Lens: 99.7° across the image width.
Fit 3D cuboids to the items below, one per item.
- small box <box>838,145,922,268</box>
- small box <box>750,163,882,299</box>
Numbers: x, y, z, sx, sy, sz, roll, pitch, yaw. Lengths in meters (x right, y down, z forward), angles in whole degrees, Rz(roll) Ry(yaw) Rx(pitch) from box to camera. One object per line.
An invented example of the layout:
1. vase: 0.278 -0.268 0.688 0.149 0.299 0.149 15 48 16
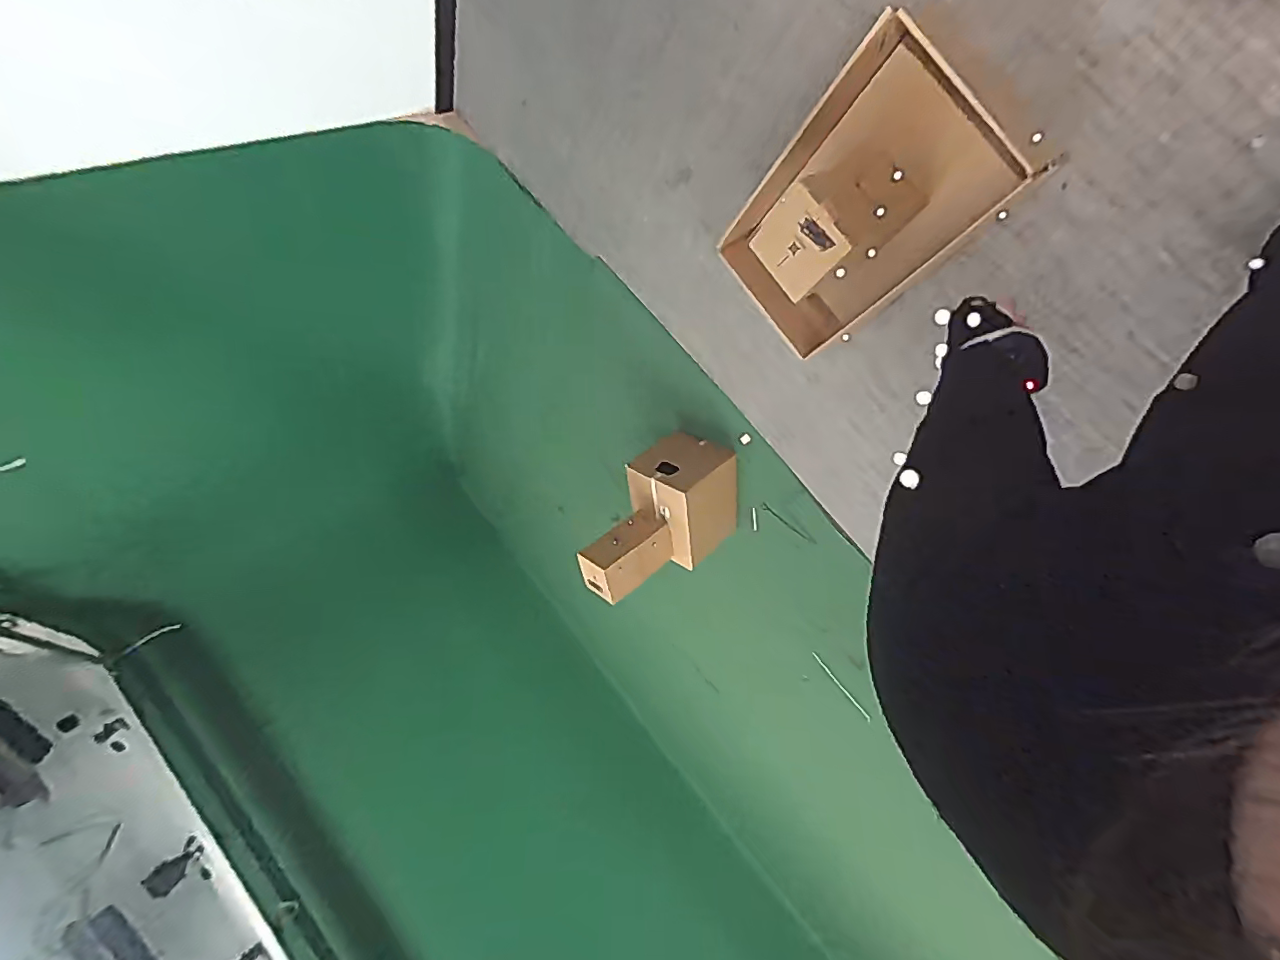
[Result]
1. small box: 0.485 -0.604 1.207 0.168 0.176 0.179 52 149 2
2. small box: 0.371 -0.519 1.124 0.168 0.176 0.179 53 150 2
